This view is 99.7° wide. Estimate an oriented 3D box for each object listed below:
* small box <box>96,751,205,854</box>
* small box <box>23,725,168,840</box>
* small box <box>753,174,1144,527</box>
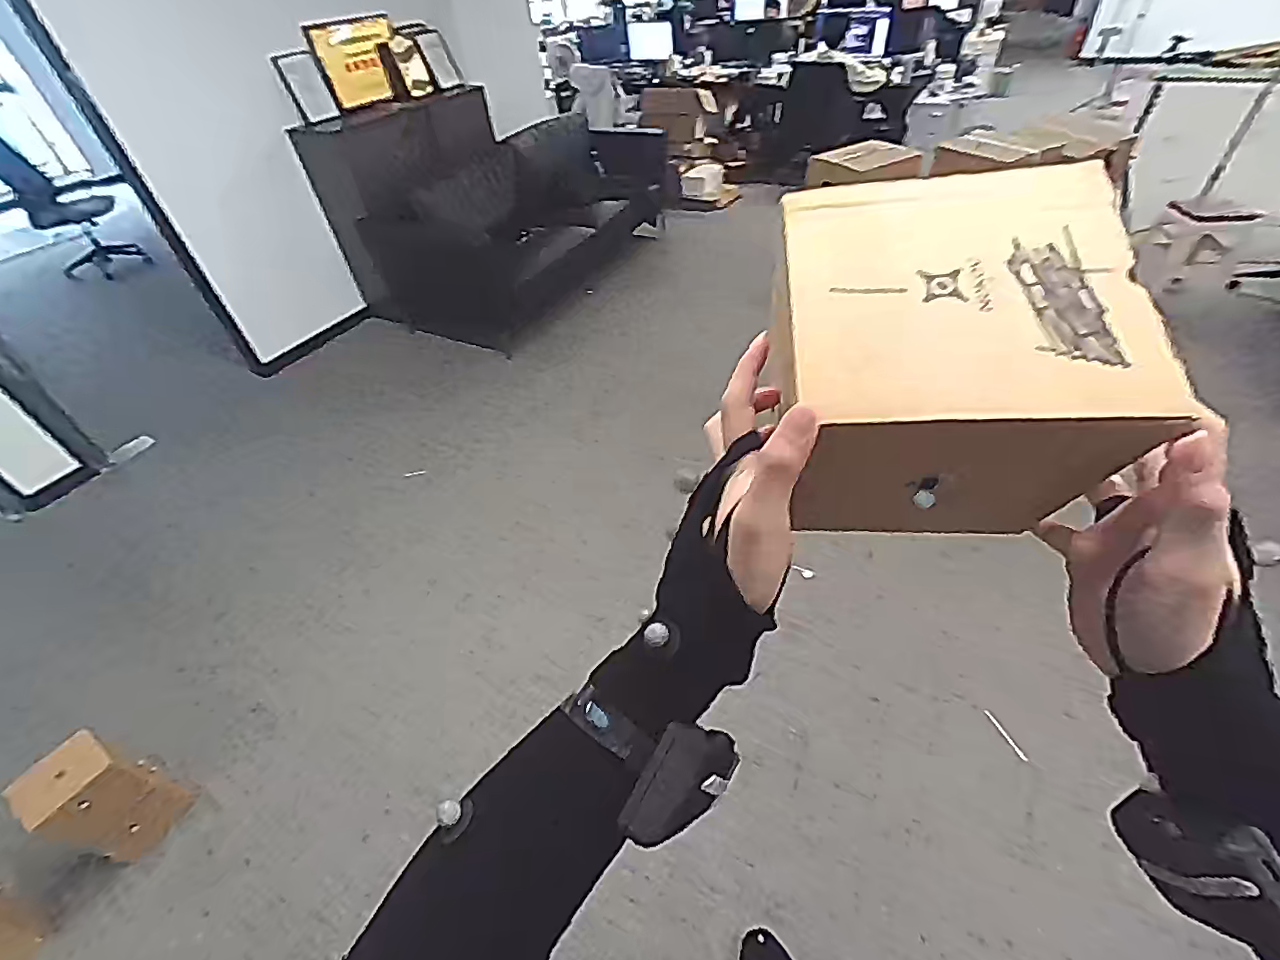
[{"bbox_3d":[-1.369,0.887,1.490,0.168,0.176,0.179,20,50,25],"label":"small box"},{"bbox_3d":[-1.373,0.771,1.374,0.168,0.176,0.179,21,50,26],"label":"small box"},{"bbox_3d":[0.171,-0.071,0.372,0.179,0.176,0.168,-1,66,10],"label":"small box"}]
